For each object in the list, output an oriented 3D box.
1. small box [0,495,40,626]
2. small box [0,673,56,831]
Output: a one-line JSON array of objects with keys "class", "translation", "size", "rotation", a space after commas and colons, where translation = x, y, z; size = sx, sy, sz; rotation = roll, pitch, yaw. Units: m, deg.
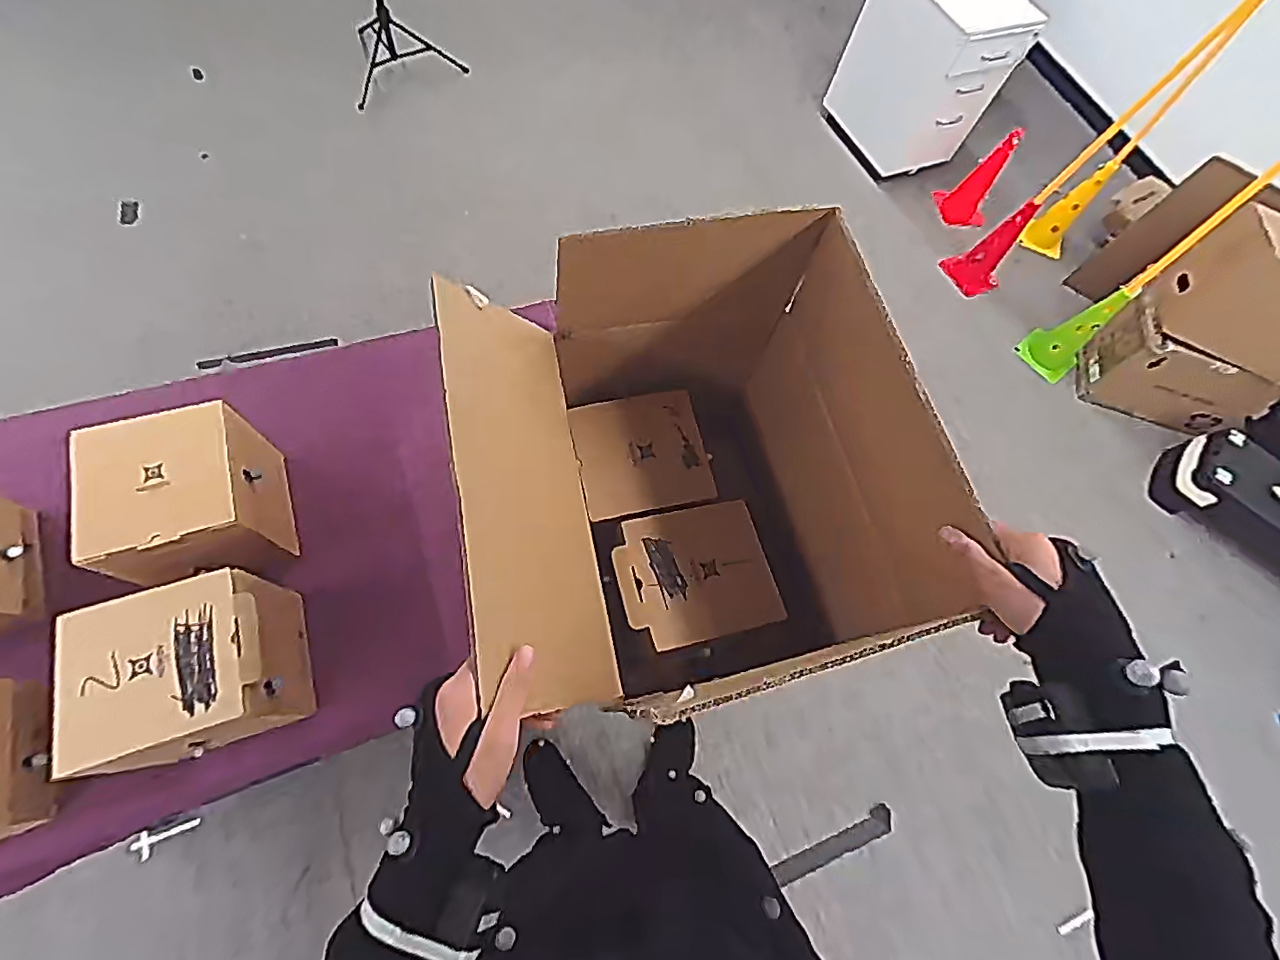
[{"class": "small box", "translation": [-0.881, 0.102, 0.633], "size": [0.179, 0.176, 0.168], "rotation": [-19, 72, -16]}, {"class": "small box", "translation": [-0.781, 0.311, 0.562], "size": [0.179, 0.176, 0.168], "rotation": [-17, 72, -16]}]
